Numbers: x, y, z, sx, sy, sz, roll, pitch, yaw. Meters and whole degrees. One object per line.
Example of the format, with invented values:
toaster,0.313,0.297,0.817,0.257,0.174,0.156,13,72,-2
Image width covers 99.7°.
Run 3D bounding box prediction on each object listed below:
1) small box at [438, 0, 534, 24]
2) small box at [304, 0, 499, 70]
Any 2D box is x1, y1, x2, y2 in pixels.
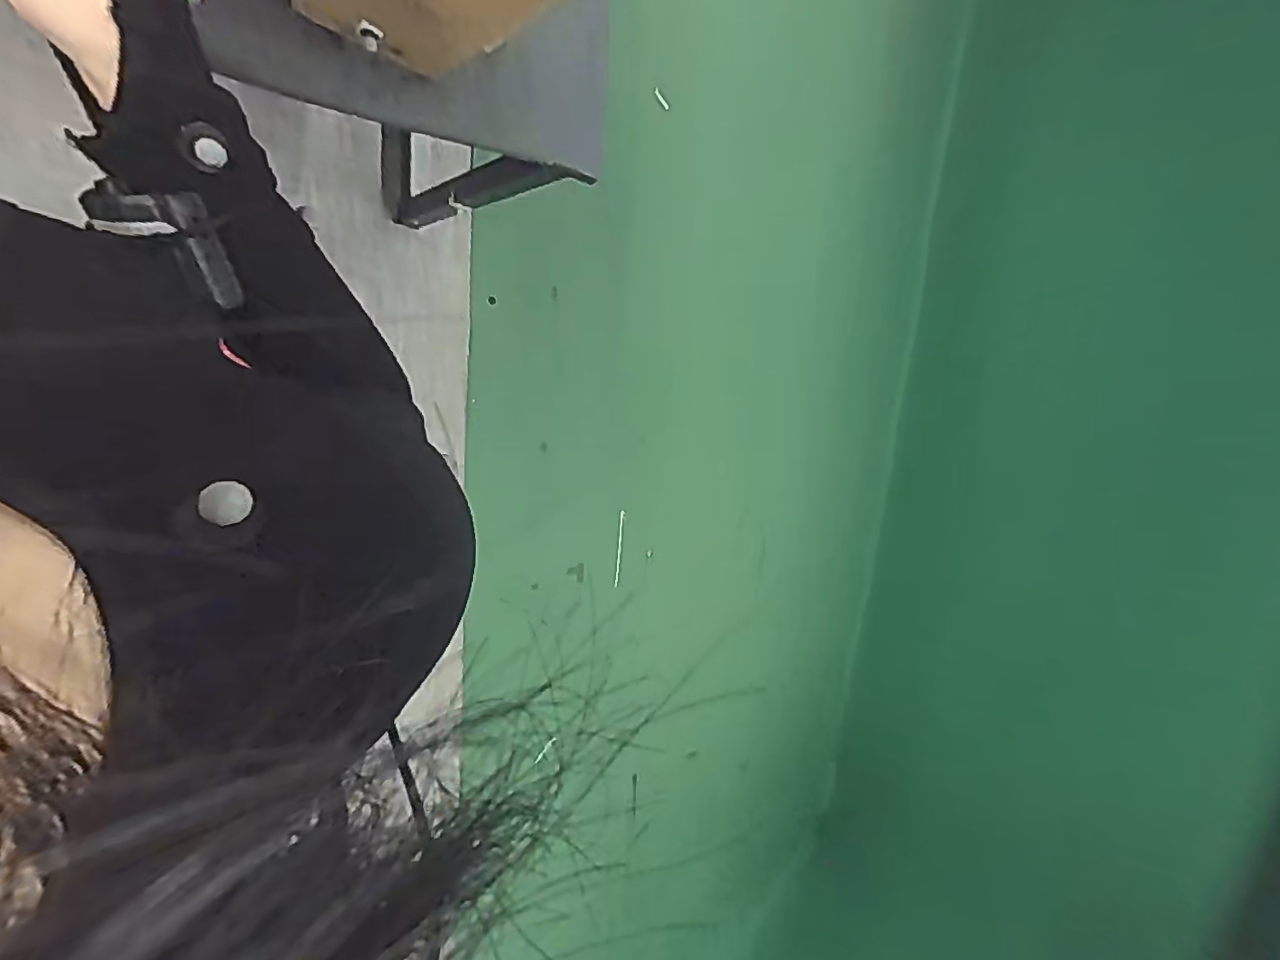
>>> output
small box,-0.148,-0.545,0.461,0.179,0.176,0.168,11,93,-44
small box,-0.257,-0.591,0.573,0.168,0.176,0.179,-4,104,-43
